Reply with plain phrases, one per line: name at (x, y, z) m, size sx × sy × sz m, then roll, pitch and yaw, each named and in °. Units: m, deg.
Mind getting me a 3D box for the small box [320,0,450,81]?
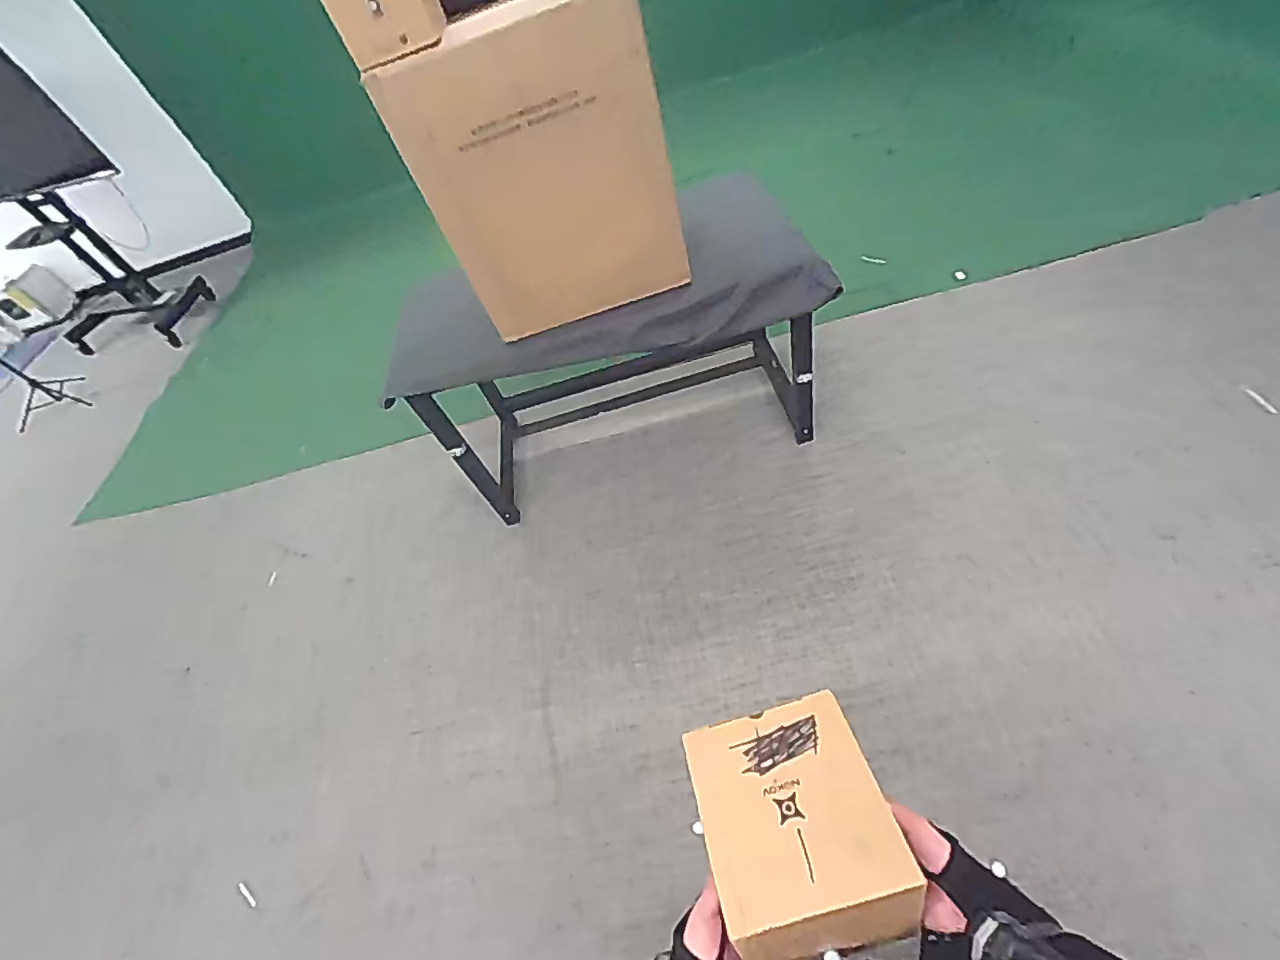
small box at (-0.474, -0.883, 1.011) m, size 0.168 × 0.176 × 0.179 m, roll -16°, pitch 50°, yaw 5°
